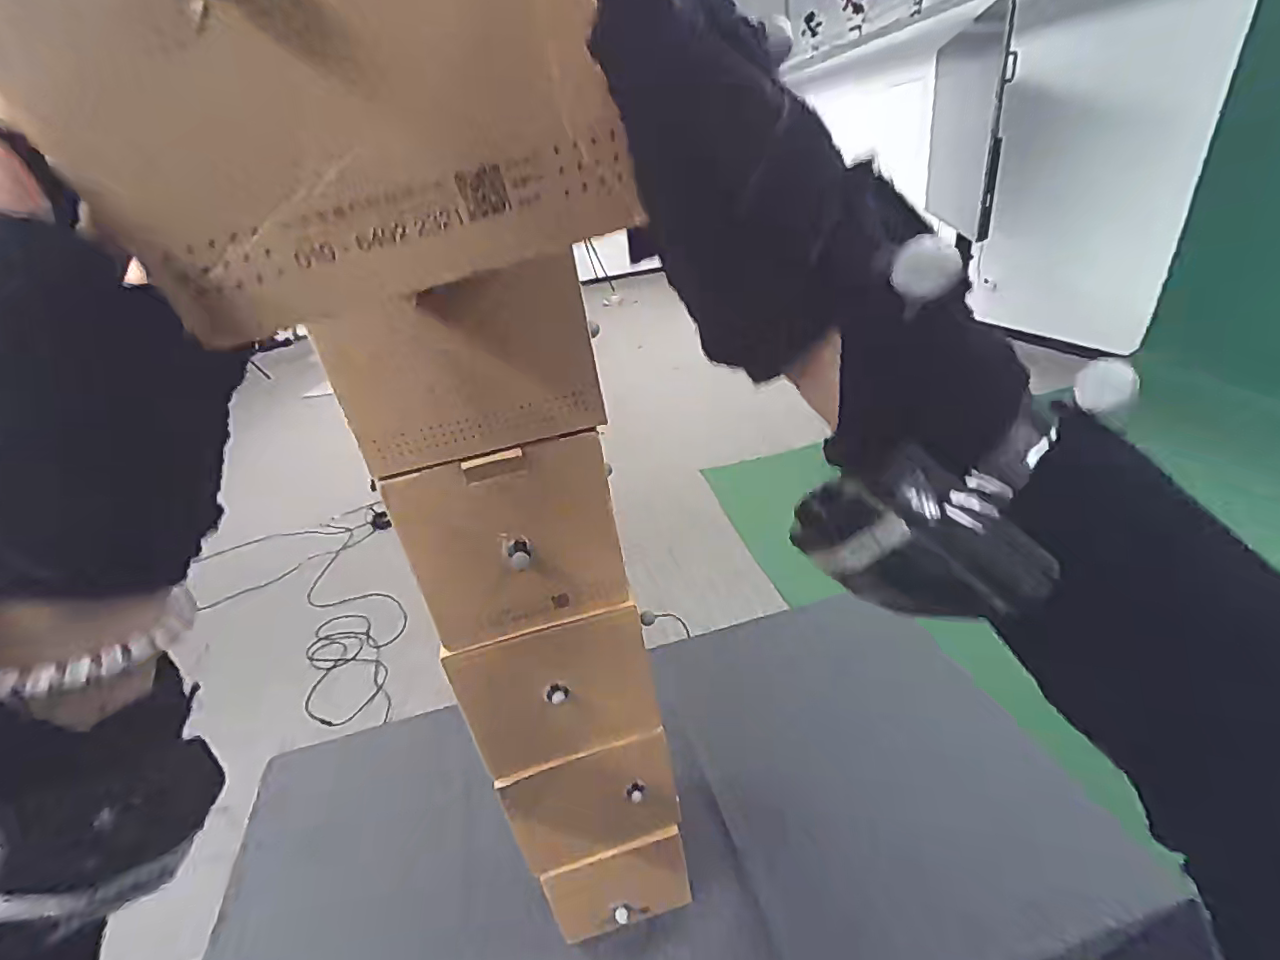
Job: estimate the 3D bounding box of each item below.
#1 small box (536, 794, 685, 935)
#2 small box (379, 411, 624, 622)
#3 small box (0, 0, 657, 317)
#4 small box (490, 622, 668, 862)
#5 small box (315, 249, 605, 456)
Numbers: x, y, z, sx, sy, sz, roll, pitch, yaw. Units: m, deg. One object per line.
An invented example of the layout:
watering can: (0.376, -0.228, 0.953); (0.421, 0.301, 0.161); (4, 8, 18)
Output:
small box: (-0.045, 0.447, 0.720); (0.168, 0.176, 0.179); (-13, 29, -8)
small box: (-0.119, 0.011, 0.509); (0.168, 0.176, 0.179); (-14, 28, -9)
small box: (-0.103, -0.179, 0.200); (0.168, 0.176, 0.179); (-19, 42, -7)
small box: (-0.071, 0.305, 0.644); (0.179, 0.176, 0.168); (-14, 28, -10)
small box: (-0.138, -0.133, 0.430); (0.179, 0.176, 0.168); (-14, 28, -8)
